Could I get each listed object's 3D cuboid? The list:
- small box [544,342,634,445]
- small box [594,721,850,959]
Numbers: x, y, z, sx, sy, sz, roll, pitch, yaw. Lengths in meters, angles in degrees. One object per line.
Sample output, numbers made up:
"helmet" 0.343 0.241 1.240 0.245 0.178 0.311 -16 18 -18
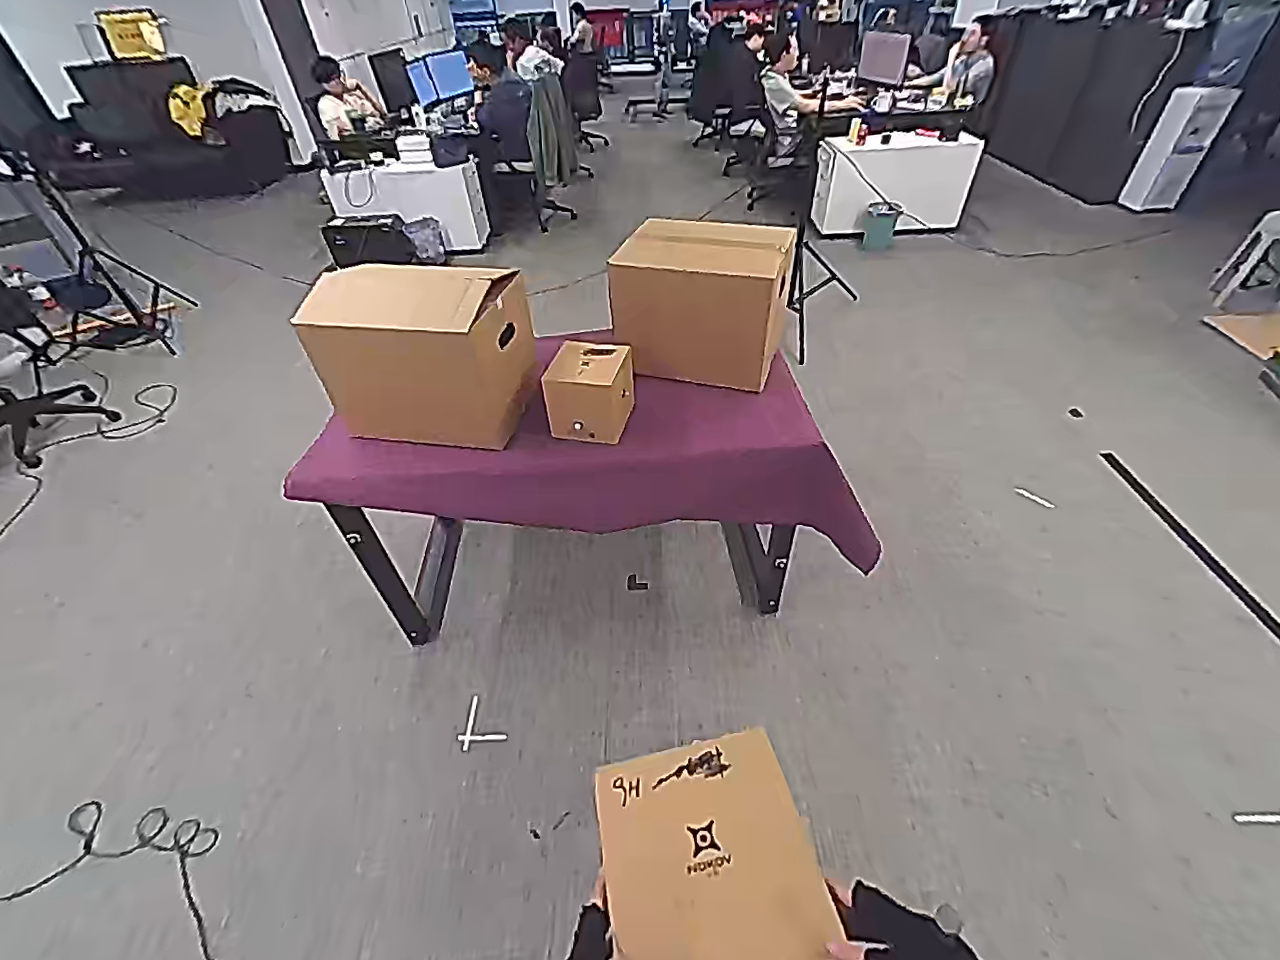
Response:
"small box" -0.113 -0.208 1.291 0.168 0.176 0.179 7 44 12
"small box" 0.062 0.352 0.476 0.168 0.176 0.179 -12 37 -5
